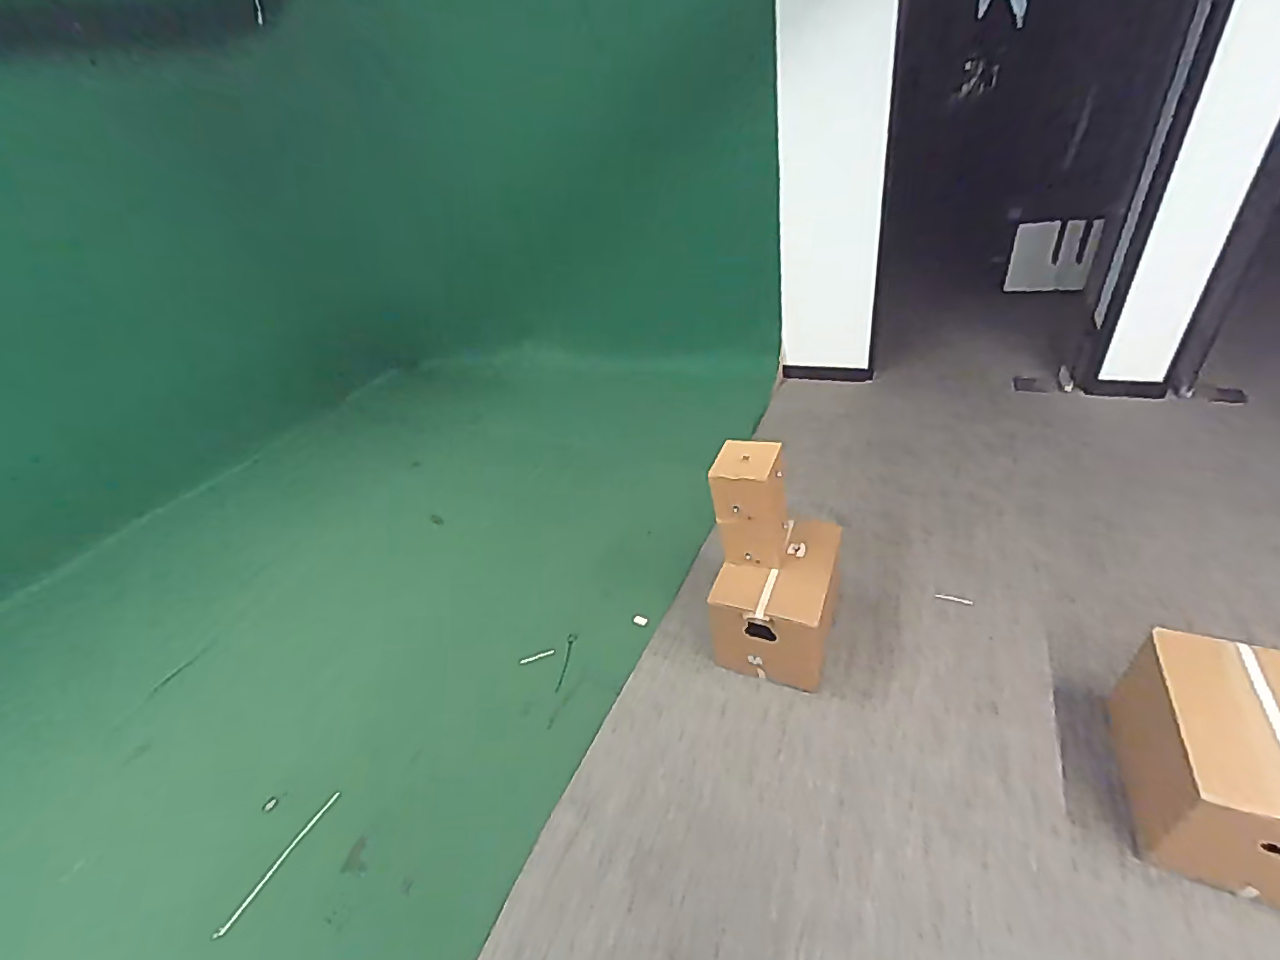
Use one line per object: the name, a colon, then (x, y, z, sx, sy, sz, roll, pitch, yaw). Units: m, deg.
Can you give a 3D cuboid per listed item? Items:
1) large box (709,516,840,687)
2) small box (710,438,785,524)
large box: (0.441, 0.367, 1.705, 0.320, 0.320, 0.408, 8, 40, 26)
small box: (0.313, 0.001, 1.542, 0.168, 0.176, 0.179, 5, 41, 28)
